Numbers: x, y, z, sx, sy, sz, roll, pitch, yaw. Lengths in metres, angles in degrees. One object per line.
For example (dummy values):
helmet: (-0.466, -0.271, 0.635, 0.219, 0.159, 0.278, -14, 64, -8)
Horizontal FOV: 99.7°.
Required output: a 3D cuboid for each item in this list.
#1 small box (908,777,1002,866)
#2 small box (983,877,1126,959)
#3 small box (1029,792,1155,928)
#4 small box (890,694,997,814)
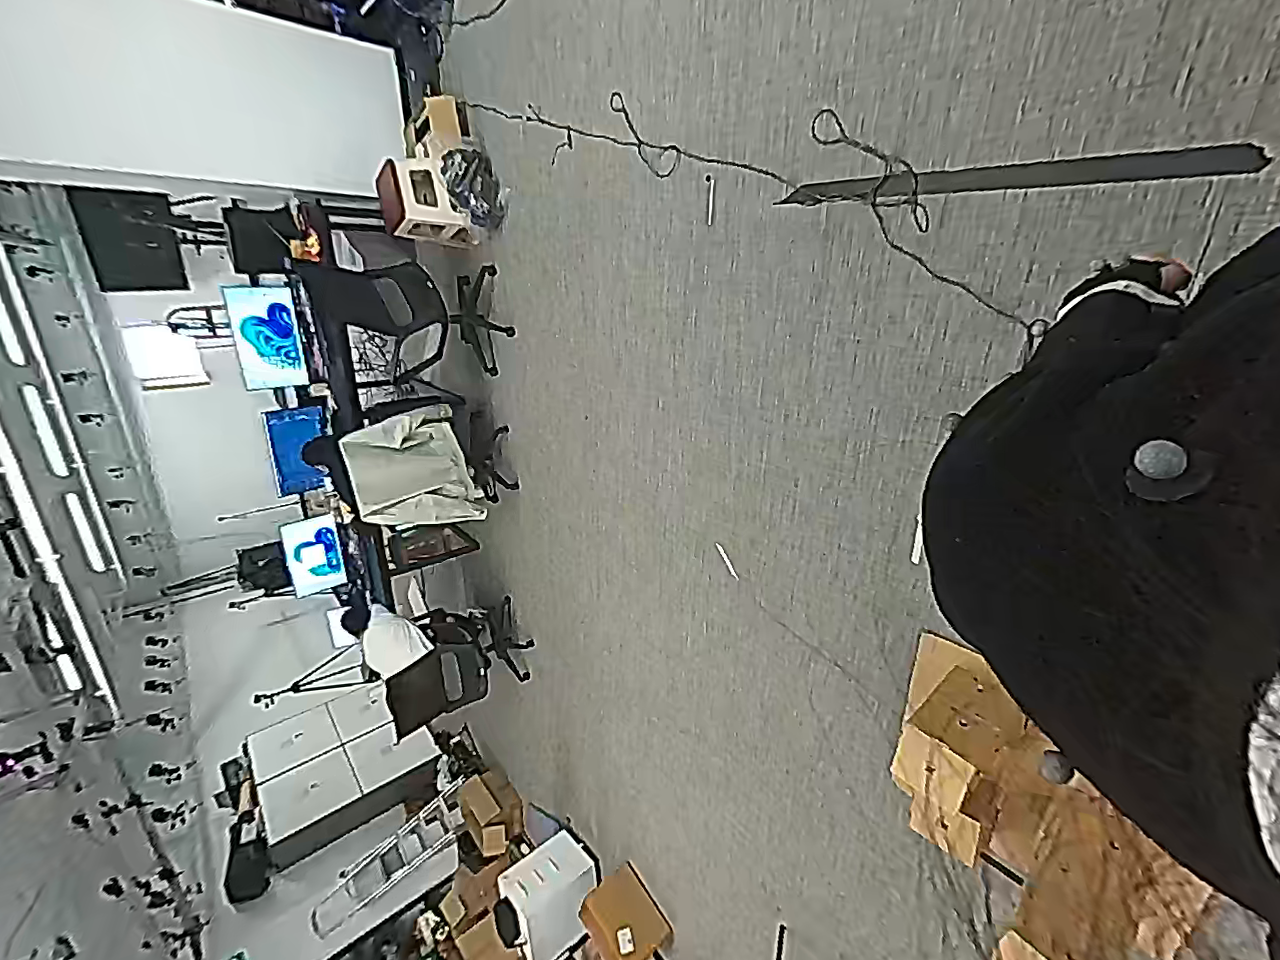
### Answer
small box: (0.910, 0.948, 1.565, 0.179, 0.176, 0.168, 17, 117, 46)
small box: (0.849, 0.982, 1.111, 0.179, 0.176, 0.168, 30, 125, 42)
small box: (1.100, 0.912, 1.314, 0.179, 0.176, 0.168, 32, 126, 39)
small box: (0.772, 0.687, 1.373, 0.168, 0.176, 0.179, 27, 121, 43)
